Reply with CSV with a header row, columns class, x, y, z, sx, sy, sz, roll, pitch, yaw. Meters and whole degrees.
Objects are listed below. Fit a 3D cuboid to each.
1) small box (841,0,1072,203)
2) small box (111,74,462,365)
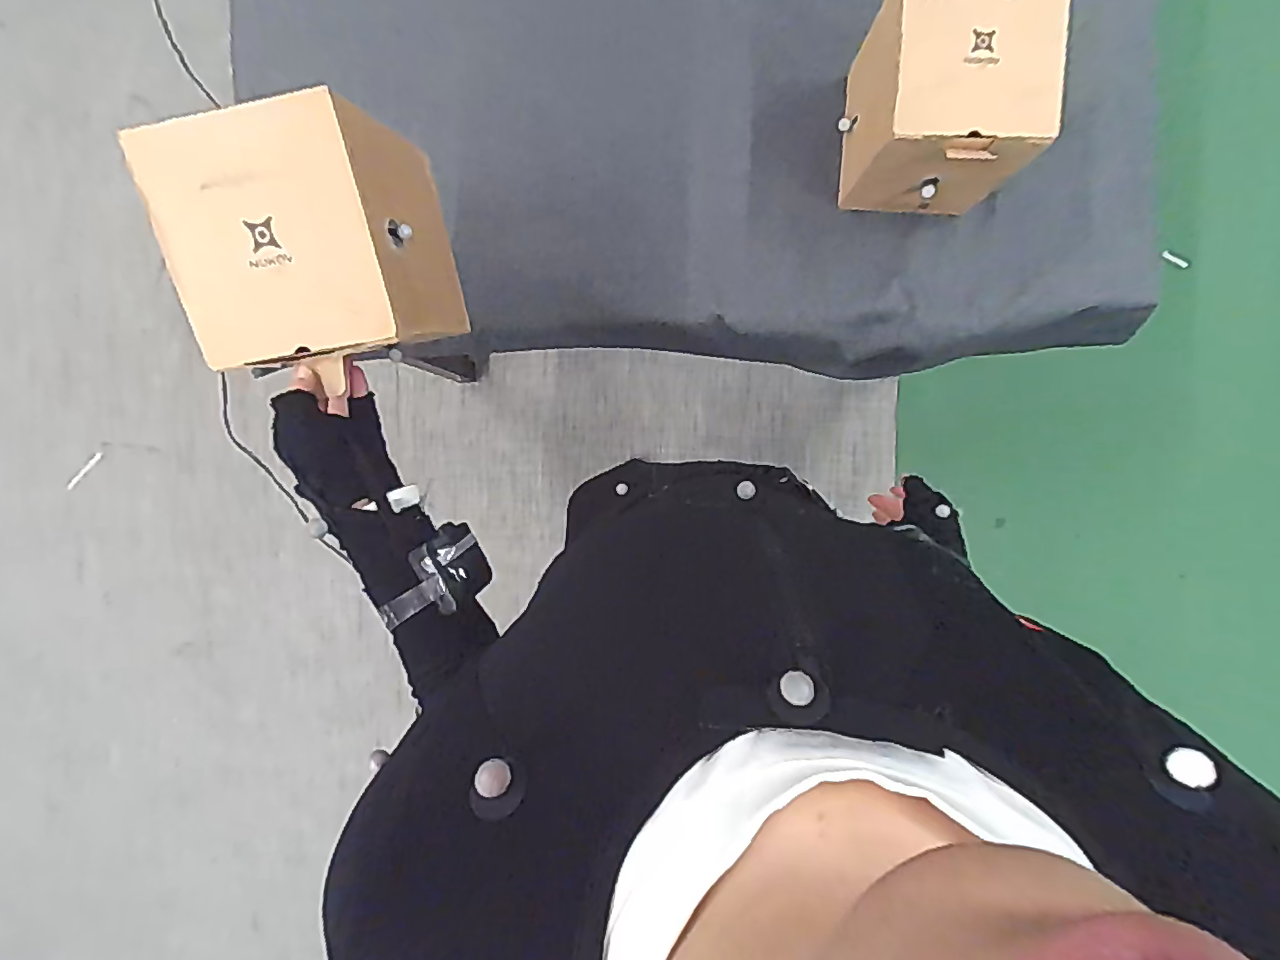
class,x,y,z,sx,sy,sz,roll,pitch,yaw
small box,0.342,-0.440,0.618,0.168,0.176,0.179,4,94,1
small box,-0.277,-0.209,0.476,0.168,0.176,0.179,-9,107,5
